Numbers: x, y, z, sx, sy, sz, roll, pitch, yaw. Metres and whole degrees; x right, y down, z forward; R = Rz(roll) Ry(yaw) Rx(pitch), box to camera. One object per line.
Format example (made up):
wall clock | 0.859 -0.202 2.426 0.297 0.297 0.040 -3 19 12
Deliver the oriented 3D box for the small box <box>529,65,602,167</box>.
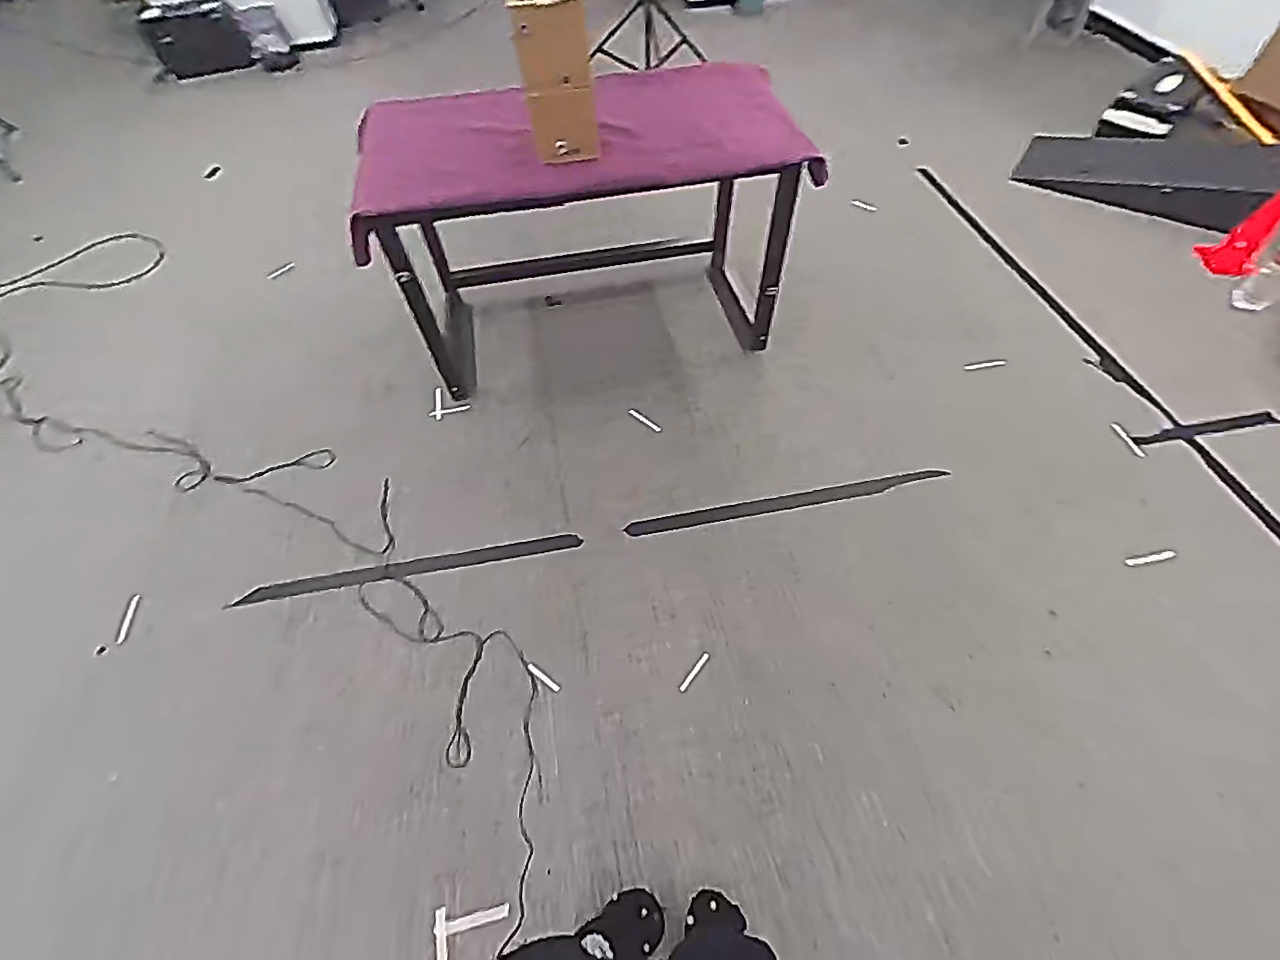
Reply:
small box | -0.195 -0.957 1.425 0.168 0.176 0.179 -9 56 -2
